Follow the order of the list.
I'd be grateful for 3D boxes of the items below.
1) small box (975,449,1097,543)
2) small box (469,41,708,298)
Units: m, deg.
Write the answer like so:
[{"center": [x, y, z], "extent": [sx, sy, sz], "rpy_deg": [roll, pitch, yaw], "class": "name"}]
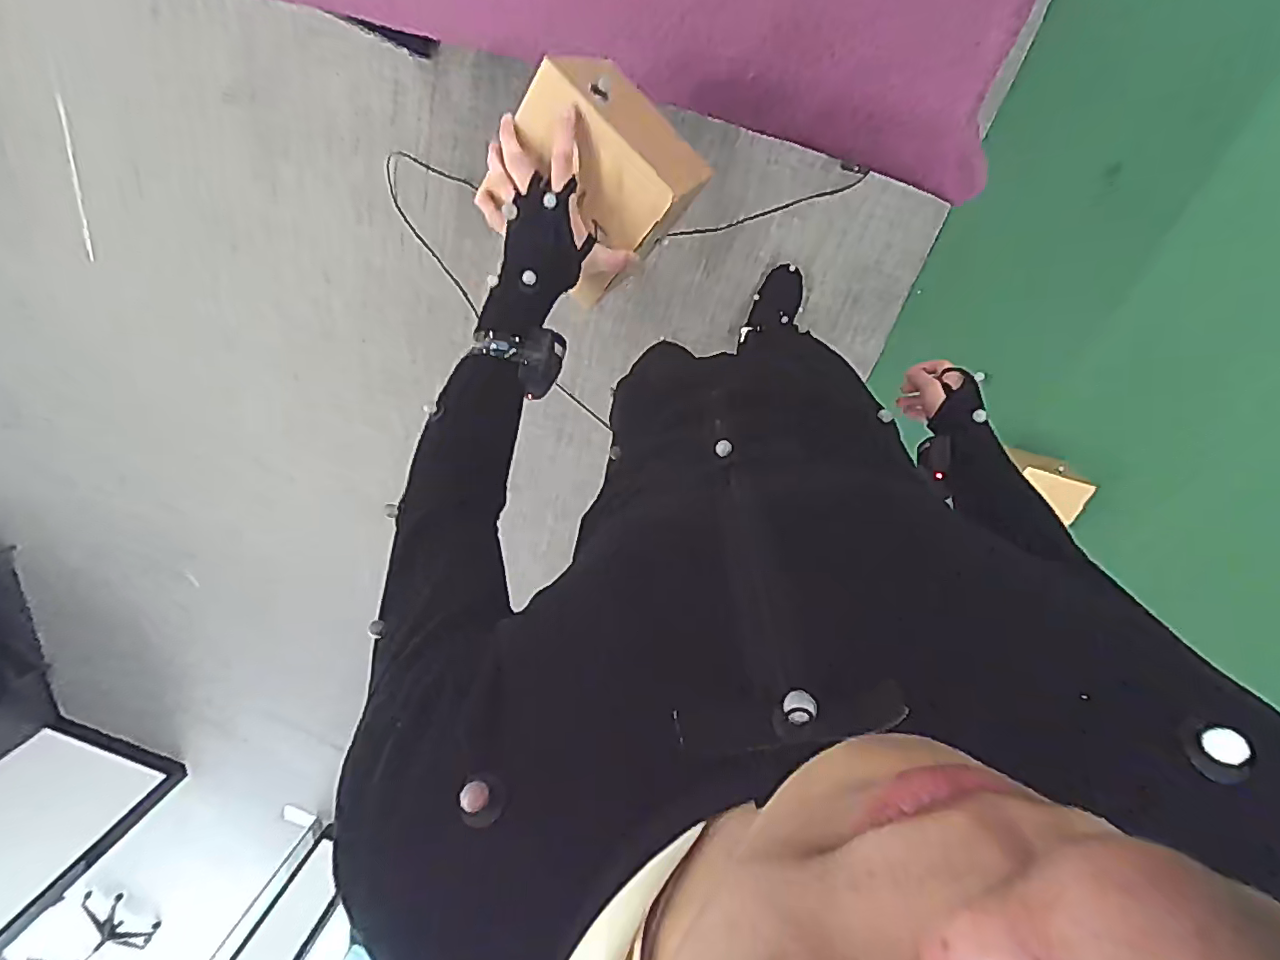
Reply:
[{"center": [1.032, 0.034, 1.431], "extent": [0.179, 0.176, 0.168], "rpy_deg": [18, 117, 4], "class": "small box"}, {"center": [-0.051, -0.347, 0.617], "extent": [0.179, 0.176, 0.168], "rpy_deg": [44, 131, -11], "class": "small box"}]
